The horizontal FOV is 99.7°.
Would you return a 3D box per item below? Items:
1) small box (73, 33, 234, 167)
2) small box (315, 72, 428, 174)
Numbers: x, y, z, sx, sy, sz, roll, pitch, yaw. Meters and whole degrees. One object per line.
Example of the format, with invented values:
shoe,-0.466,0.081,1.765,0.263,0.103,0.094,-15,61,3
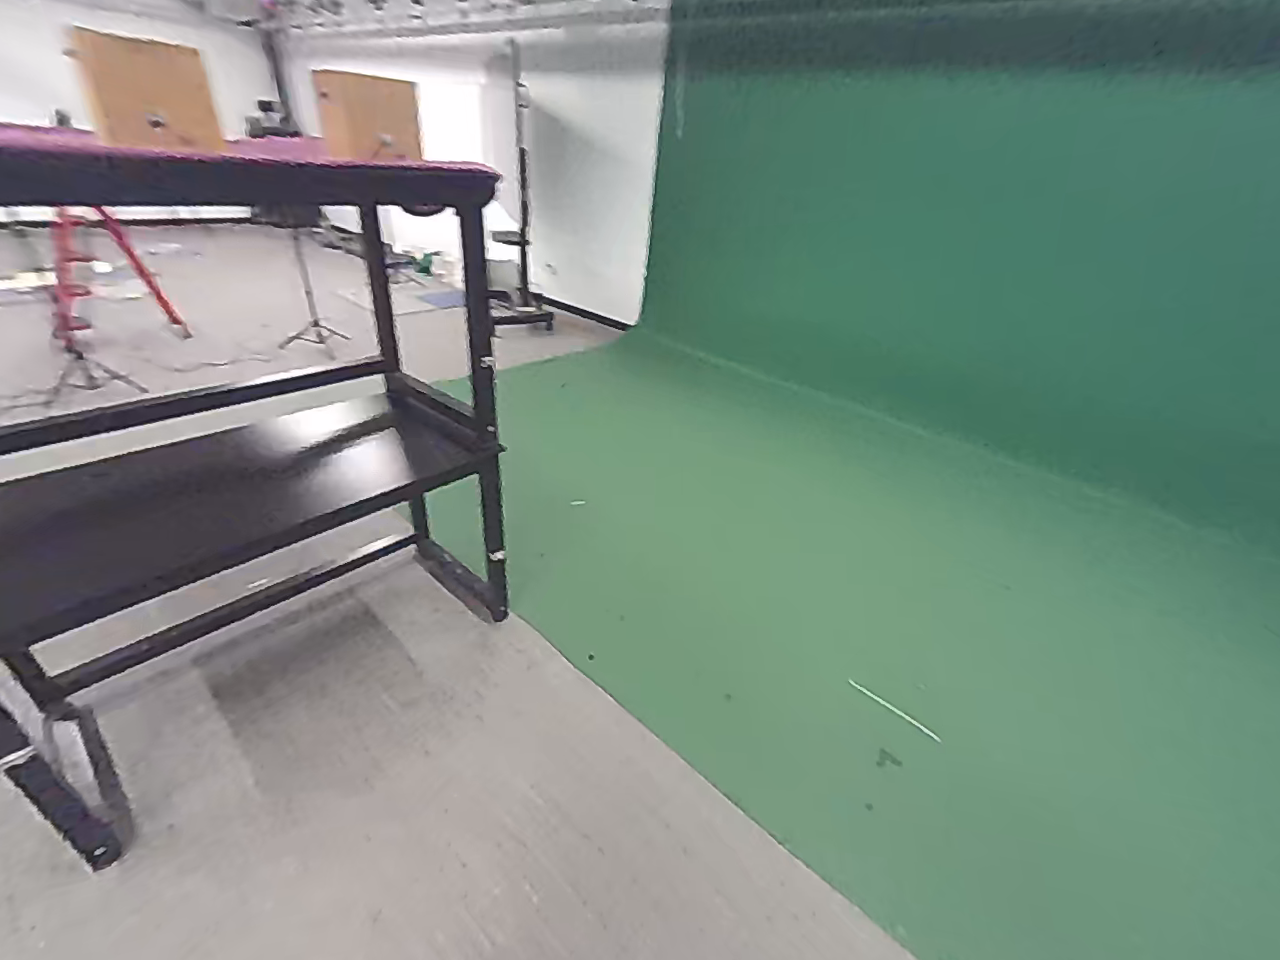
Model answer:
small box,-0.860,-0.666,0.963,0.168,0.176,0.179,-24,41,-39
small box,-0.598,-0.797,1.215,0.168,0.176,0.179,-24,43,-38
